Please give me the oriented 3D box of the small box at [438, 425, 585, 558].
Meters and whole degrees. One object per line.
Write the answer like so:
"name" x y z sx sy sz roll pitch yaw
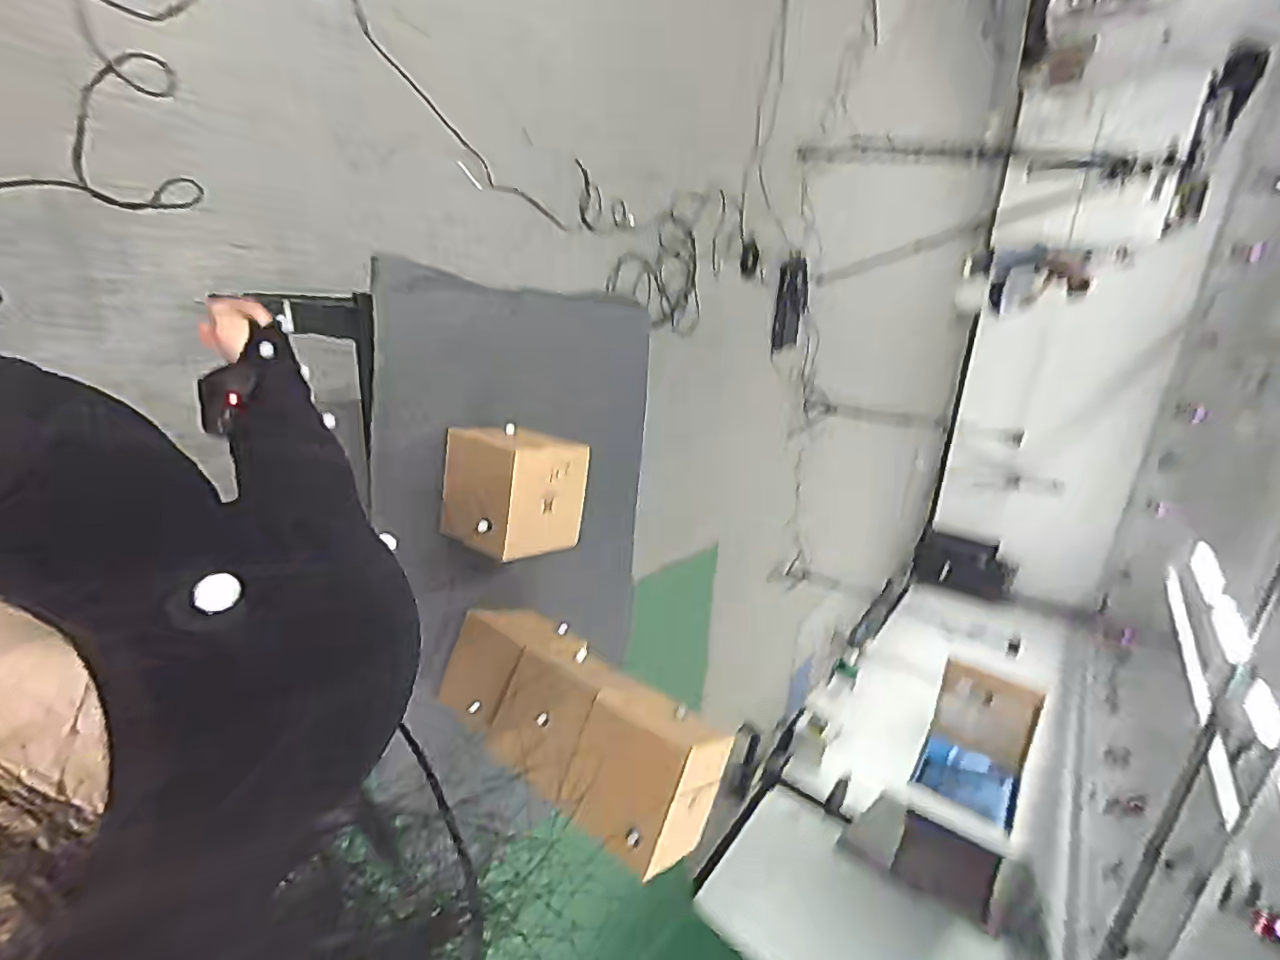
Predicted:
"small box" -0.217 0.011 0.905 0.168 0.176 0.179 -5 108 -54

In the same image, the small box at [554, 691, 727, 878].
"small box" 0.001 0.428 0.802 0.168 0.176 0.179 30 80 -55

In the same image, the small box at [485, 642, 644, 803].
"small box" -0.127 0.392 0.896 0.168 0.176 0.179 34 76 -54
